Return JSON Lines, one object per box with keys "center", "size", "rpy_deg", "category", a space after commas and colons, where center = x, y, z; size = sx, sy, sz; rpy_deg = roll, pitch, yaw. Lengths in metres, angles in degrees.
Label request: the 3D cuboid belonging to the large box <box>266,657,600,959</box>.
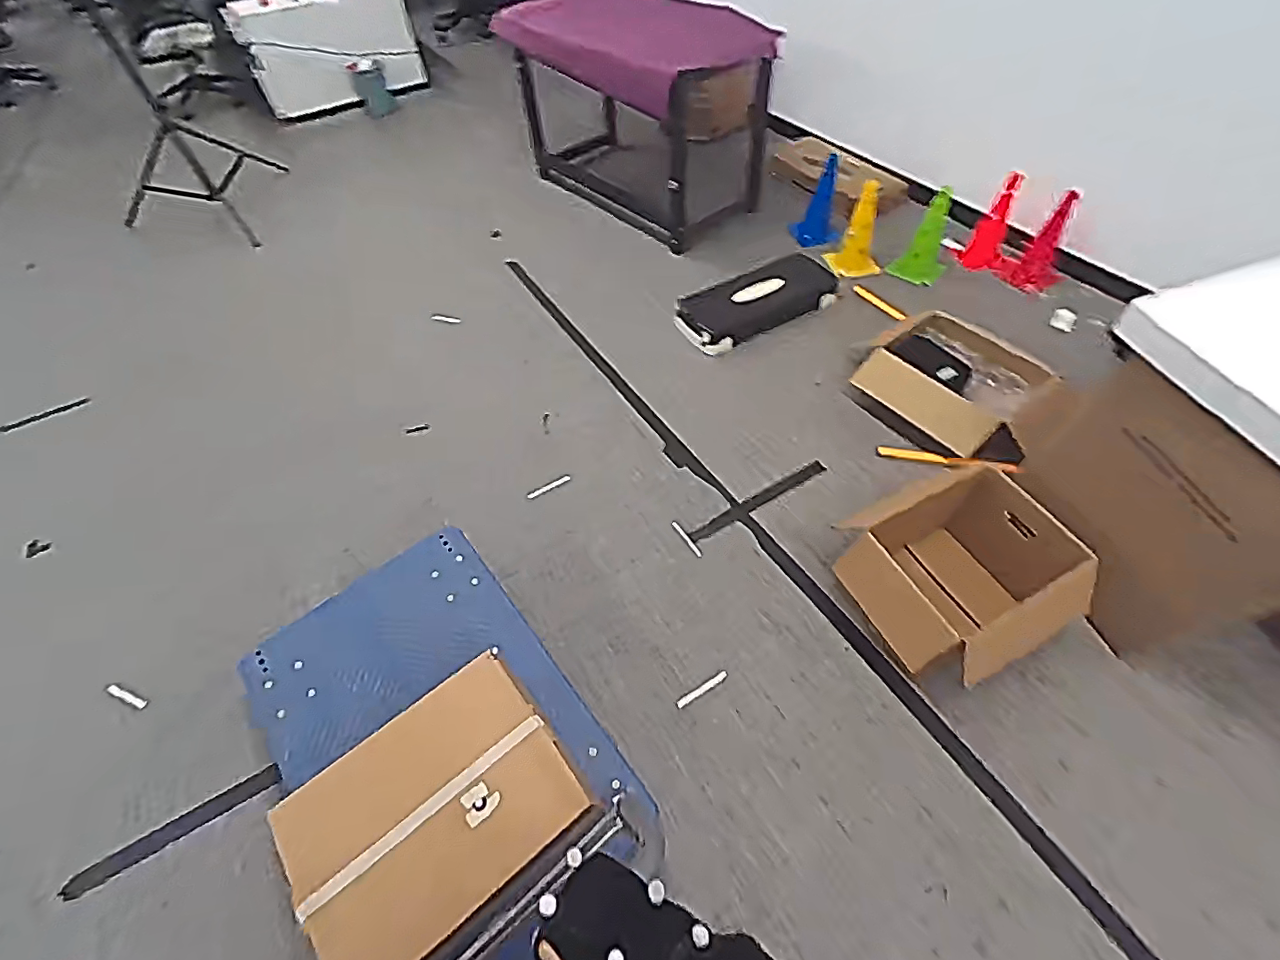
{"center": [-0.323, 0.598, 0.948], "size": [0.408, 0.320, 0.320], "rpy_deg": [-35, 64, -21], "category": "large box"}
